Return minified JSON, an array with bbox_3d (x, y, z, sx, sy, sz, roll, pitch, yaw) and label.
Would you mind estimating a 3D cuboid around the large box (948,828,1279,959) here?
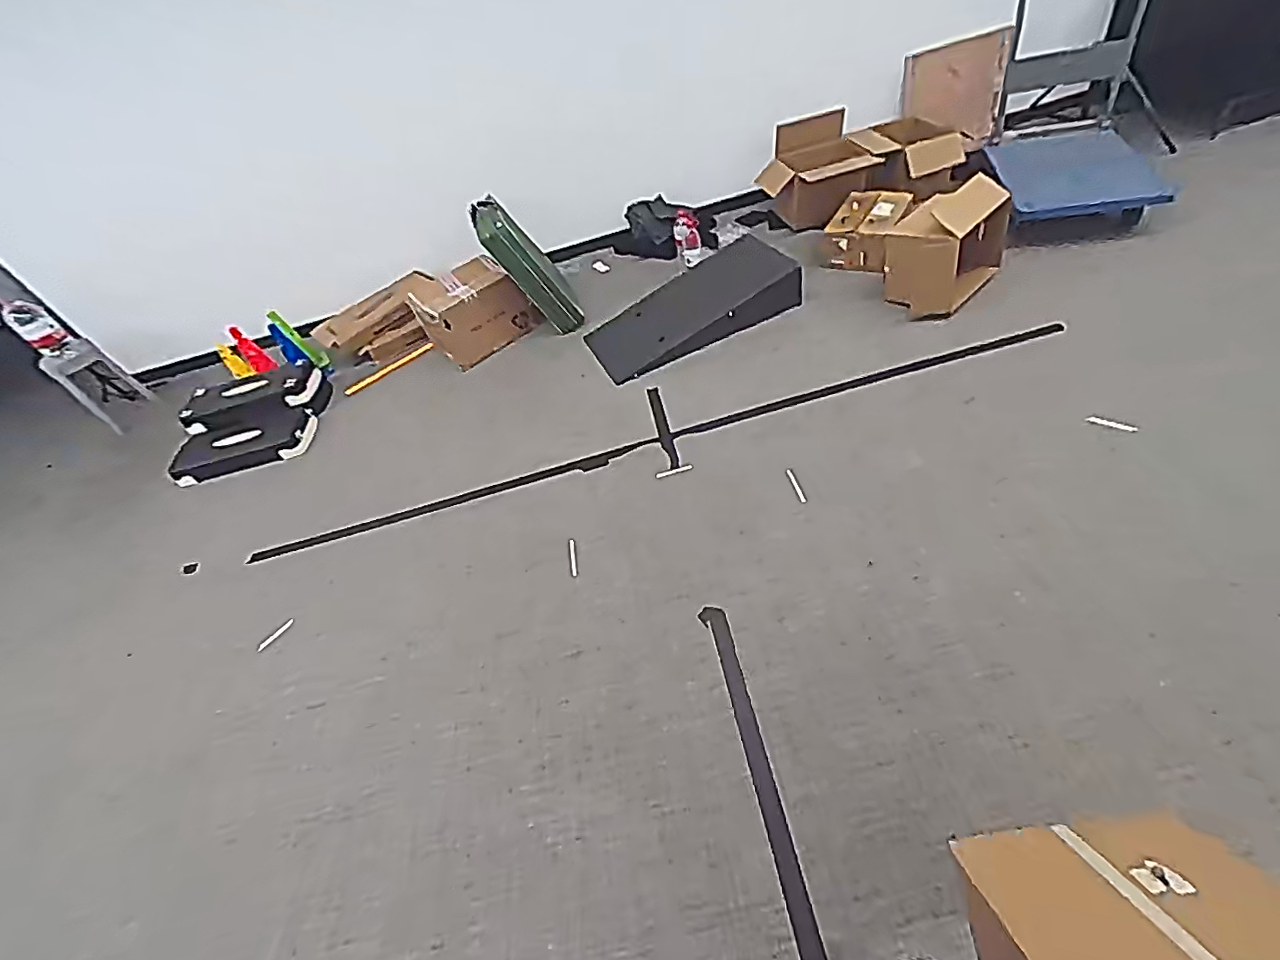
[{"bbox_3d":[0.617,0.663,0.590,0.320,0.408,0.320,-11,82,7],"label":"large box"}]
